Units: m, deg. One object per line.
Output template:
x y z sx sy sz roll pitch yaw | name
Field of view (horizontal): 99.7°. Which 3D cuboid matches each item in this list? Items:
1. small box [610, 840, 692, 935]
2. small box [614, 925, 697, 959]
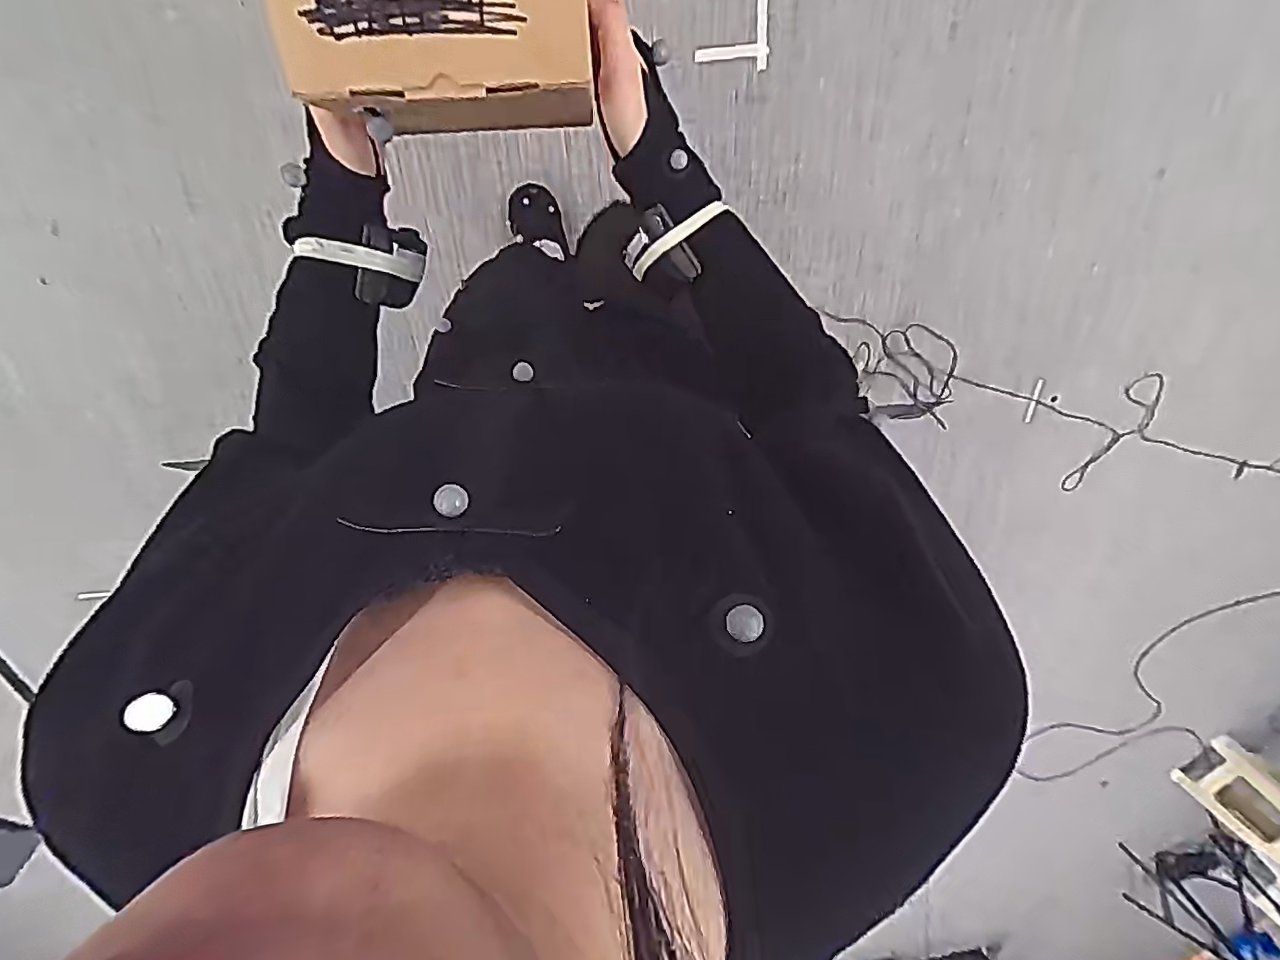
0.020 0.948 1.232 0.168 0.176 0.179 -4 121 -4 | small box
0.039 1.035 1.094 0.168 0.176 0.179 -6 120 -3 | small box
